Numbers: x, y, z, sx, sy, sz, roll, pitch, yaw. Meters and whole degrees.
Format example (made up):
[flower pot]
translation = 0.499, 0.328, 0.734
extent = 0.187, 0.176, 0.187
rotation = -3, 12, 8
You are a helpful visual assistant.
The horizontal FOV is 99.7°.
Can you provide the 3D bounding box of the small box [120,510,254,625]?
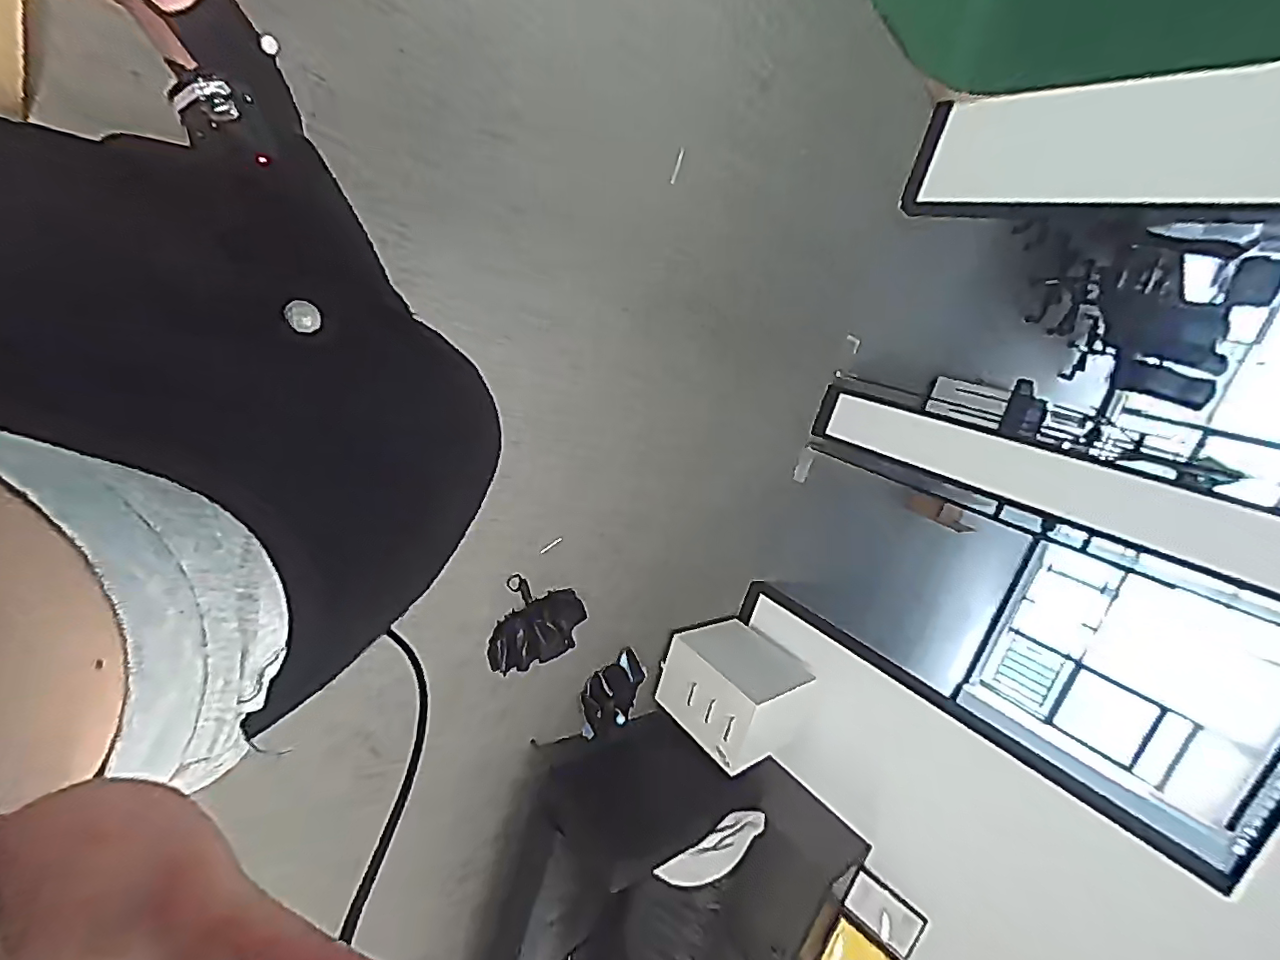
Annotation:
[small box]
translation = -1.062, 0.199, 1.275
extent = 0.168, 0.176, 0.179
rotation = -44, 132, -18
